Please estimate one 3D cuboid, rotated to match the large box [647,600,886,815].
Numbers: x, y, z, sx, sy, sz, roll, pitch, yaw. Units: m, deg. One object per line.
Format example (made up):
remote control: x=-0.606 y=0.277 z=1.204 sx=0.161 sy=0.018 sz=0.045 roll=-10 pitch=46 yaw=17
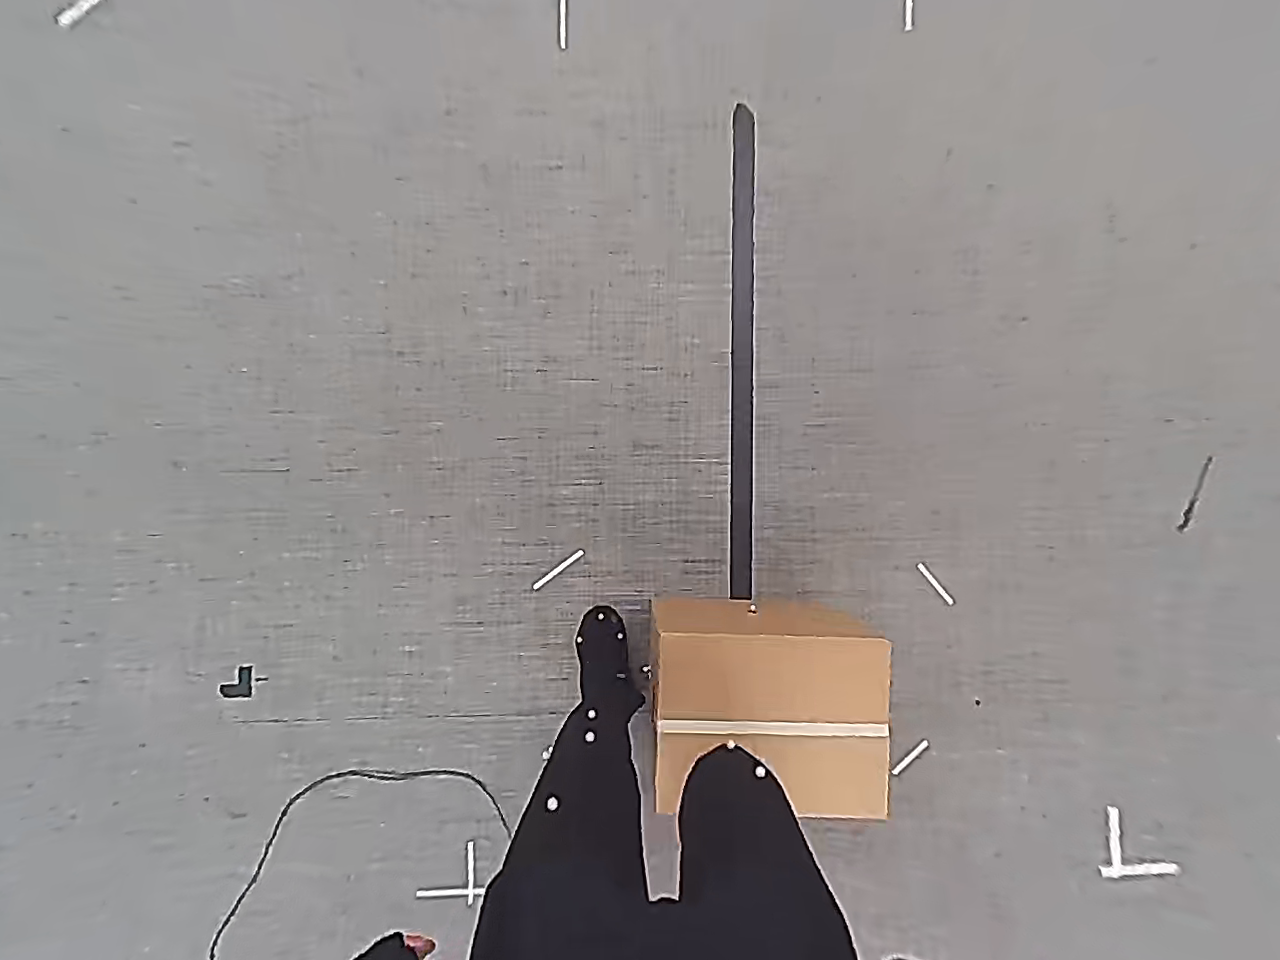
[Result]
large box: x=0.225 y=0.427 z=1.085 sx=0.408 sy=0.320 sz=0.320 roll=2 pitch=89 yaw=-2
